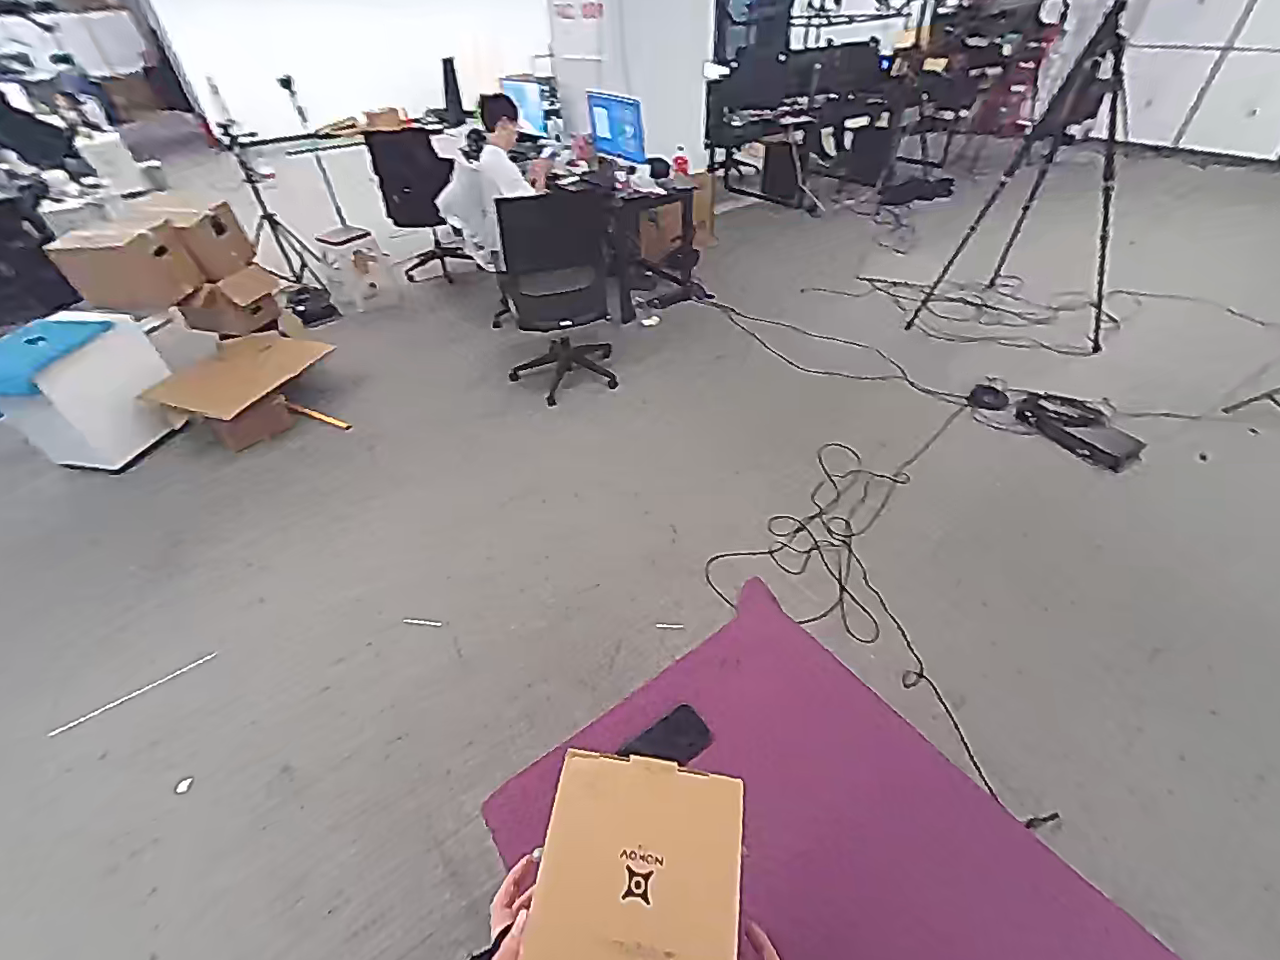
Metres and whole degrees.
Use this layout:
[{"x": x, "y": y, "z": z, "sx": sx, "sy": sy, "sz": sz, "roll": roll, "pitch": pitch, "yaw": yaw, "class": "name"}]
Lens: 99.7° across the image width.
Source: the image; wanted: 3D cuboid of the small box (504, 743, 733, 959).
[{"x": -0.010, "y": 0.371, "z": 0.499, "sx": 0.168, "sy": 0.176, "sz": 0.179, "roll": 6, "pitch": 50, "yaw": 7, "class": "small box"}]
